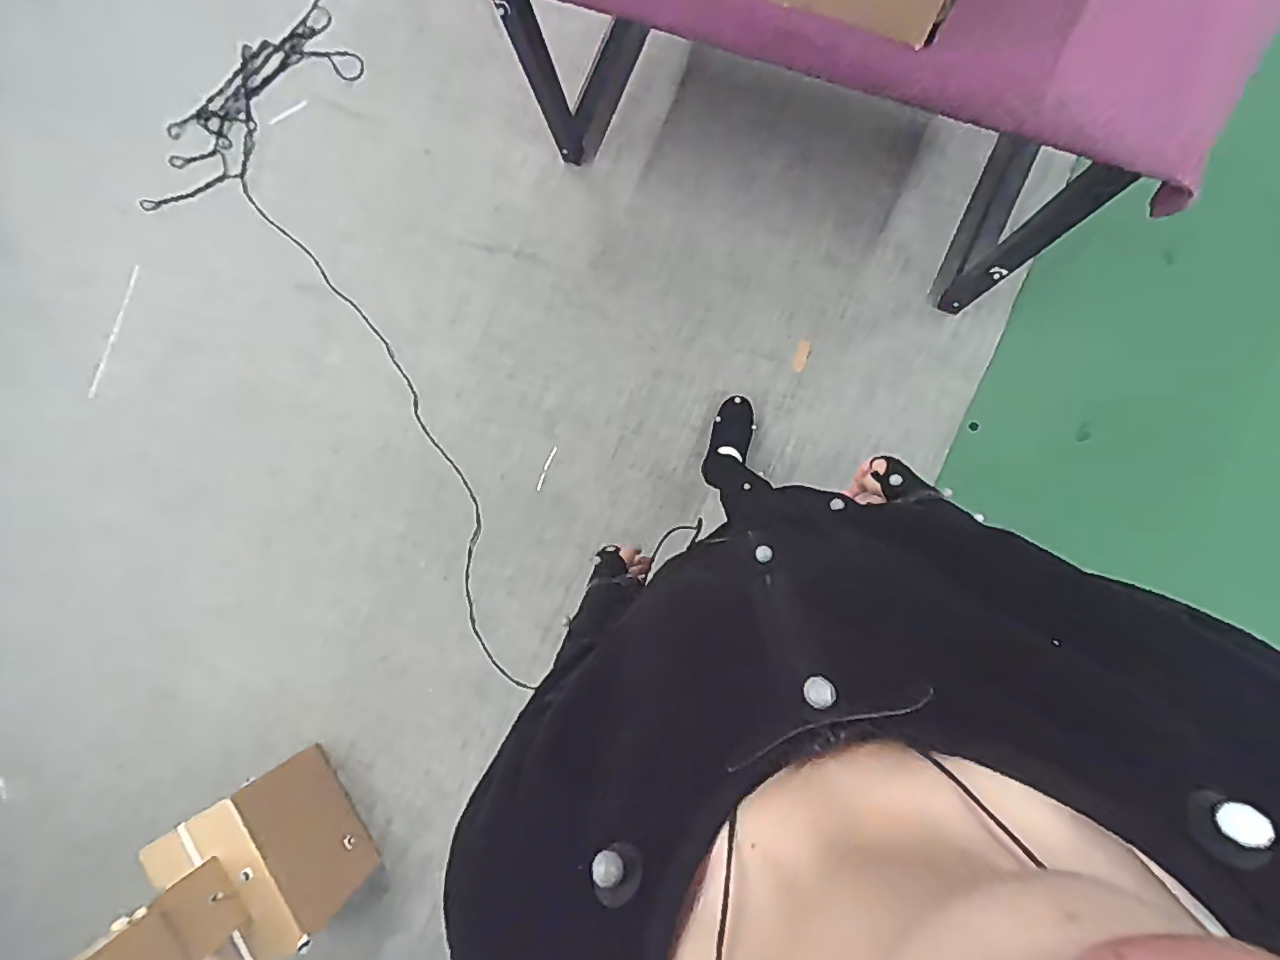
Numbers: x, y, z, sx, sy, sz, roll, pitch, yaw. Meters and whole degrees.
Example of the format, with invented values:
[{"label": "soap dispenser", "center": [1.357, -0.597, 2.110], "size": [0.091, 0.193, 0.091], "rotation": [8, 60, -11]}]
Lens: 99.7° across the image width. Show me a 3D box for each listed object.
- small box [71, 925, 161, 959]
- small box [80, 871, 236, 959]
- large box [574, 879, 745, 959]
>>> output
[{"label": "small box", "center": [-1.086, 1.033, 1.061], "size": [0.168, 0.176, 0.179], "rotation": [-33, 86, 6]}, {"label": "small box", "center": [-1.083, 1.039, 1.227], "size": [0.168, 0.176, 0.179], "rotation": [-37, 84, 6]}, {"label": "large box", "center": [0.036, 1.276, 1.334], "size": [0.408, 0.320, 0.320], "rotation": [9, 90, 6]}]
